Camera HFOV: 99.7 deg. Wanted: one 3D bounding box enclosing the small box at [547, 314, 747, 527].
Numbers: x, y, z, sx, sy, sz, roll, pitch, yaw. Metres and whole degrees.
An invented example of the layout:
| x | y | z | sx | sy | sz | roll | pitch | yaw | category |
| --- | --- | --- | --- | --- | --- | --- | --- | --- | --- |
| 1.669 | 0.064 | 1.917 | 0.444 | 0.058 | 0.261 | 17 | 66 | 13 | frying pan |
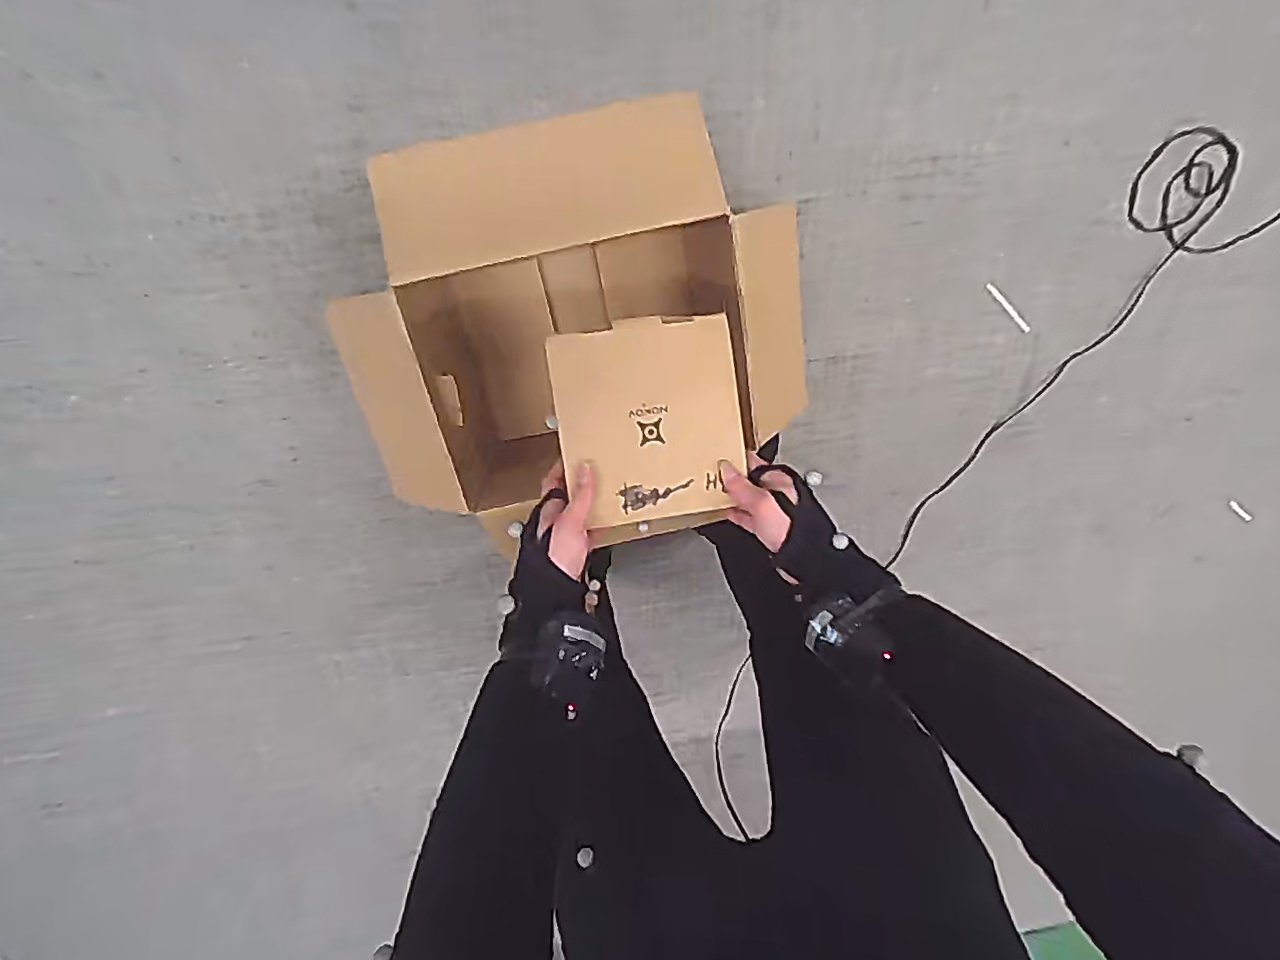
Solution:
| x | y | z | sx | sy | sz | roll | pitch | yaw | category |
| --- | --- | --- | --- | --- | --- | --- | --- | --- | --- |
| -0.001 | -0.058 | 0.560 | 0.168 | 0.176 | 0.179 | -8 | 95 | -5 | small box |
